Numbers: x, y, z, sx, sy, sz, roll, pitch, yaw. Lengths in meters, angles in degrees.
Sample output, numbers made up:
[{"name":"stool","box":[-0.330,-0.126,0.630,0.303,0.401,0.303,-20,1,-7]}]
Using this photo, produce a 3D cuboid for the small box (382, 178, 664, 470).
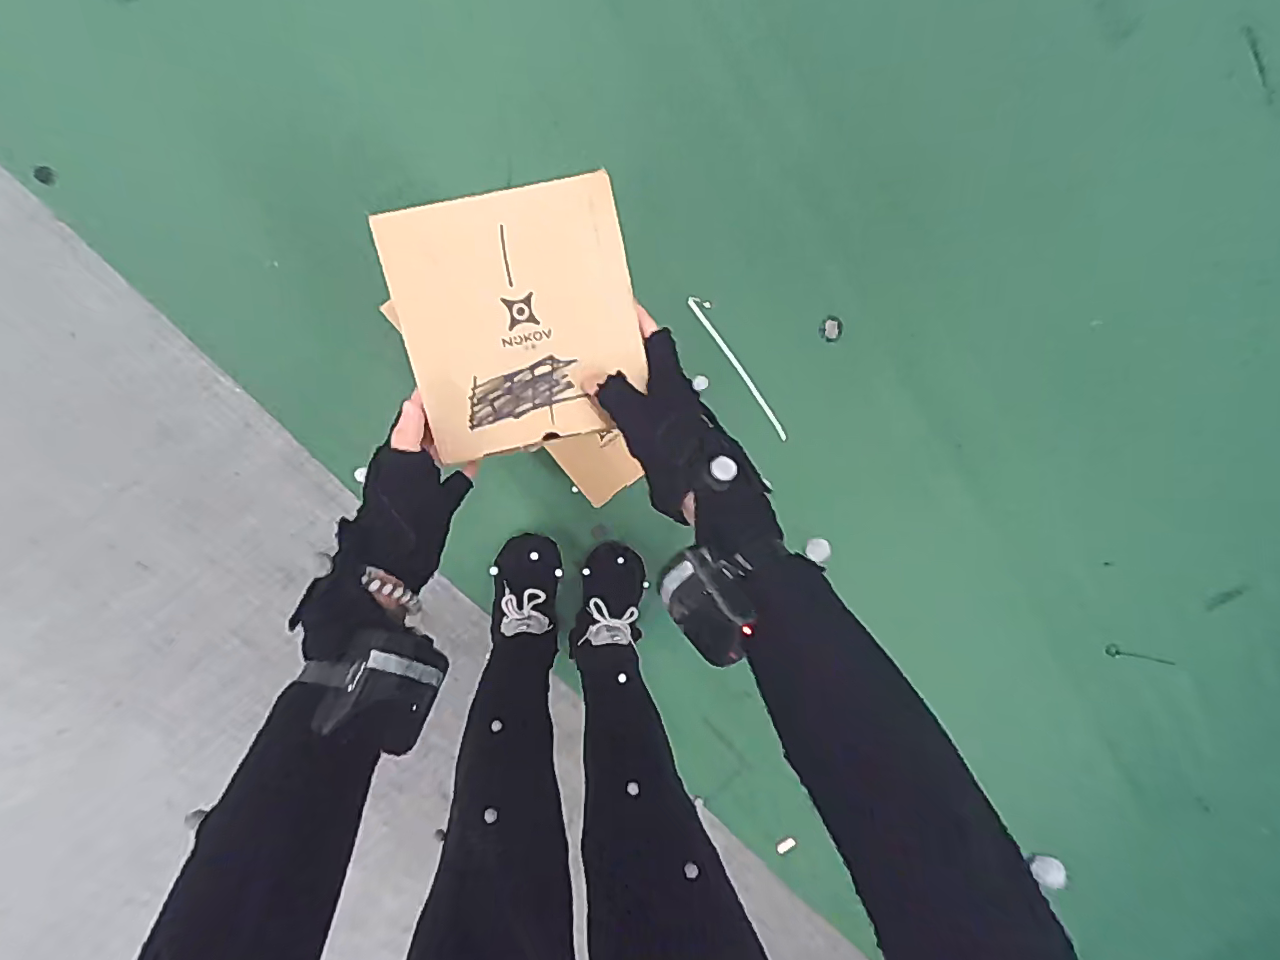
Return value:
[{"name":"small box","box":[-0.083,-0.124,0.458,0.168,0.176,0.179,-13,104,-3]}]
